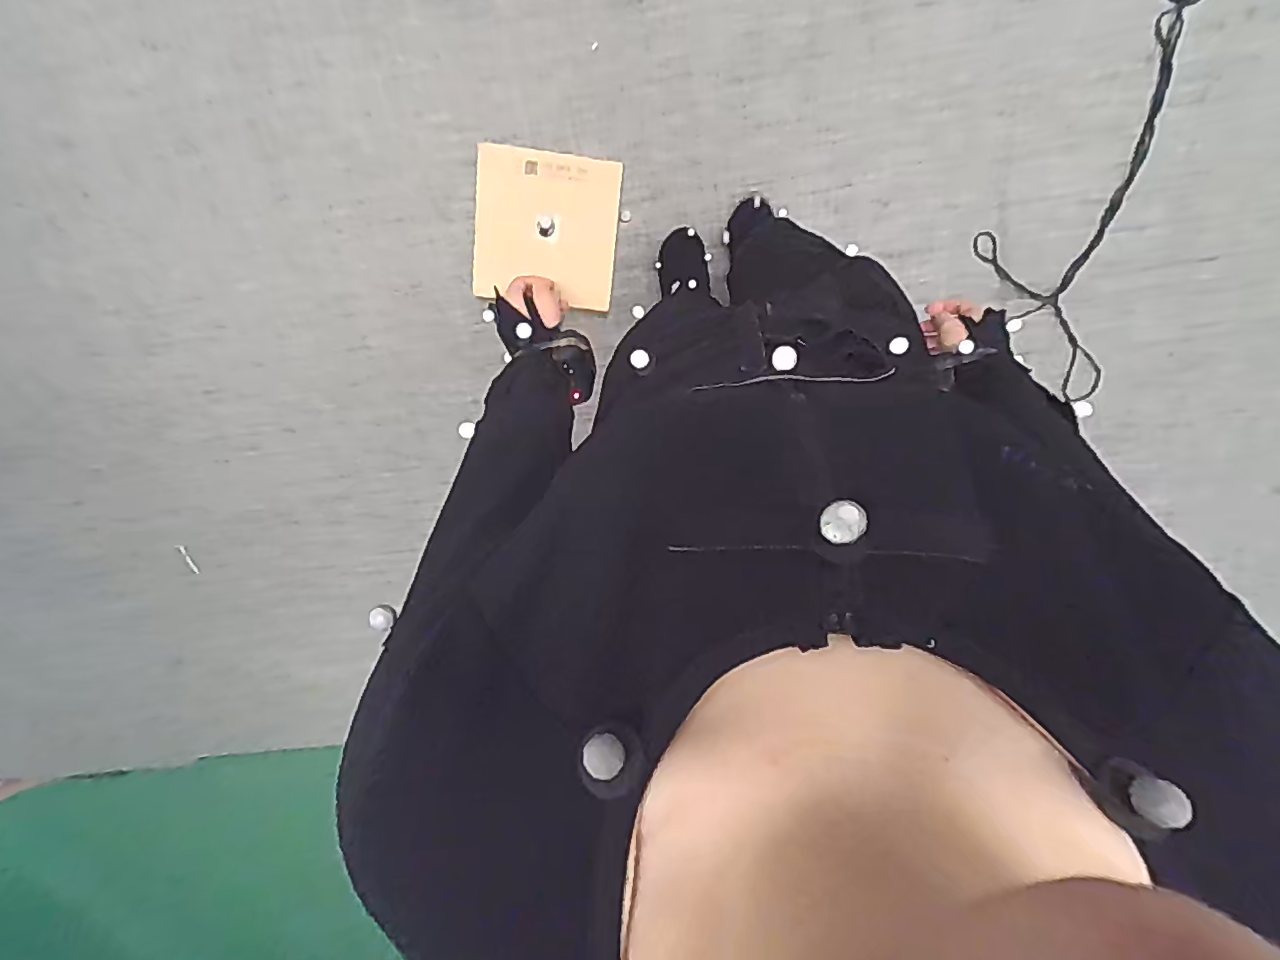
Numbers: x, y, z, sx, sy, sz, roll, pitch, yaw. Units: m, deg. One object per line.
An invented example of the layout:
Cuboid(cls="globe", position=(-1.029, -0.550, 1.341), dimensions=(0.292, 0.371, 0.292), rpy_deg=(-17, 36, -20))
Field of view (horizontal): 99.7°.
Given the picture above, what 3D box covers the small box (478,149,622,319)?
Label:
Cuboid(cls="small box", position=(-0.114, -0.311, 0.711), dimensions=(0.168, 0.179, 0.176), rpy_deg=(4, 103, -5))
